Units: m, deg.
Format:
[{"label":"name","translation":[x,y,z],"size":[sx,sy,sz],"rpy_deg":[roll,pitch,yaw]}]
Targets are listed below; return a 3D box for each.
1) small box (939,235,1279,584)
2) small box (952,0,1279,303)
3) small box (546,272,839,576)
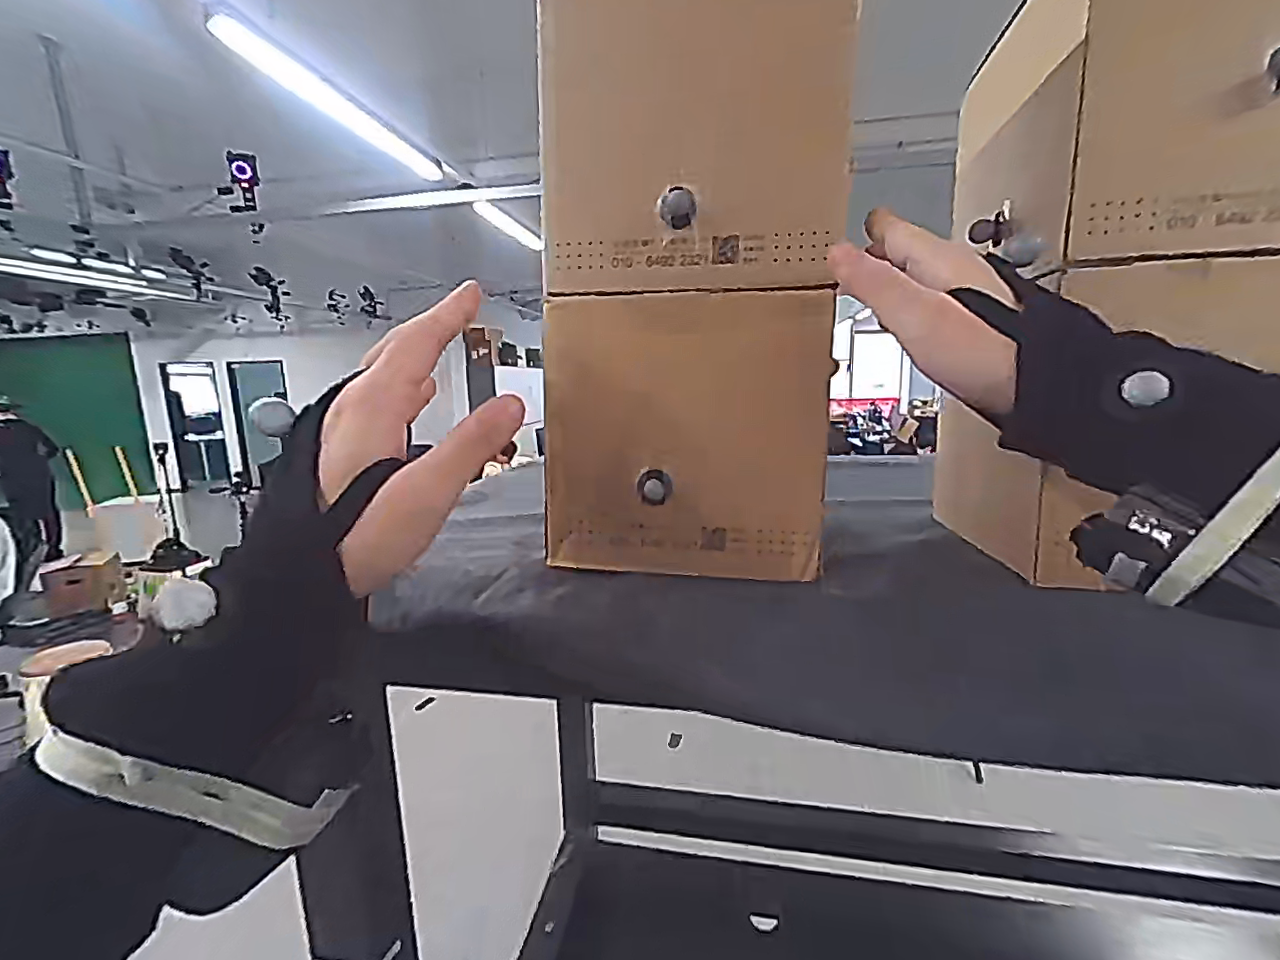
[{"label":"small box","translation":[0.304,-0.041,0.341],"size":[0.168,0.176,0.179],"rpy_deg":[0,8,12]},{"label":"small box","translation":[0.304,-0.204,0.318],"size":[0.168,0.176,0.179],"rpy_deg":[1,9,11]},{"label":"small box","translation":[0.037,-0.041,0.388],"size":[0.168,0.176,0.179],"rpy_deg":[1,9,9]}]
